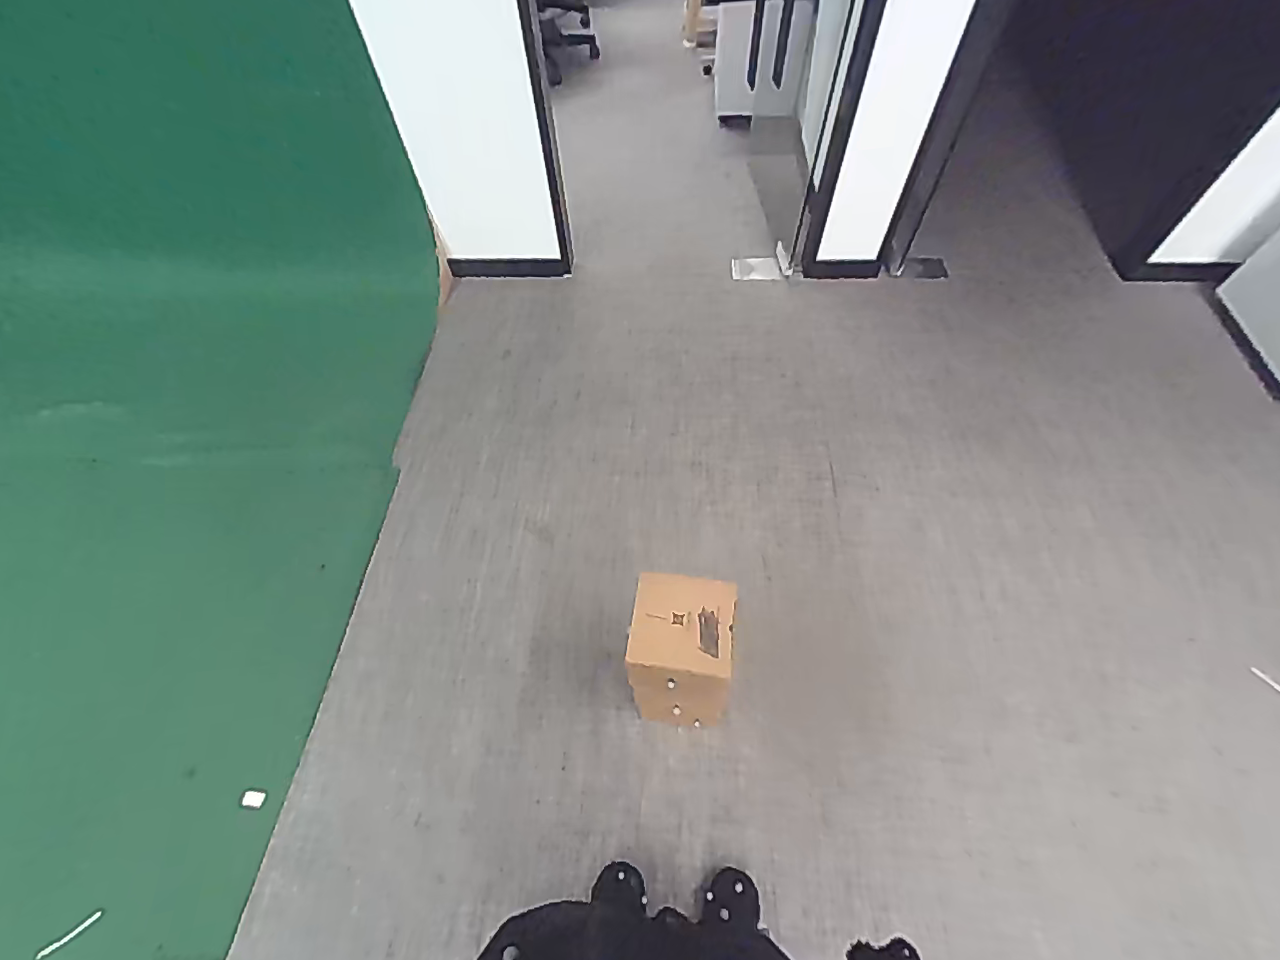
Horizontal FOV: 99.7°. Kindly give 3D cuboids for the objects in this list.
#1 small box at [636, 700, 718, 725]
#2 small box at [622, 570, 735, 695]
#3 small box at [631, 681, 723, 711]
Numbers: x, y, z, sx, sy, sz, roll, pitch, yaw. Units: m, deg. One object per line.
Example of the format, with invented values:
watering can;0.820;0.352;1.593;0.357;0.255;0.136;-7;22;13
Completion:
small box;0.089;0.467;1.265;0.179;0.176;0.168;4;57;6
small box;0.073;0.284;0.992;0.179;0.176;0.168;7;57;8
small box;0.081;0.375;1.129;0.179;0.176;0.168;6;57;5
